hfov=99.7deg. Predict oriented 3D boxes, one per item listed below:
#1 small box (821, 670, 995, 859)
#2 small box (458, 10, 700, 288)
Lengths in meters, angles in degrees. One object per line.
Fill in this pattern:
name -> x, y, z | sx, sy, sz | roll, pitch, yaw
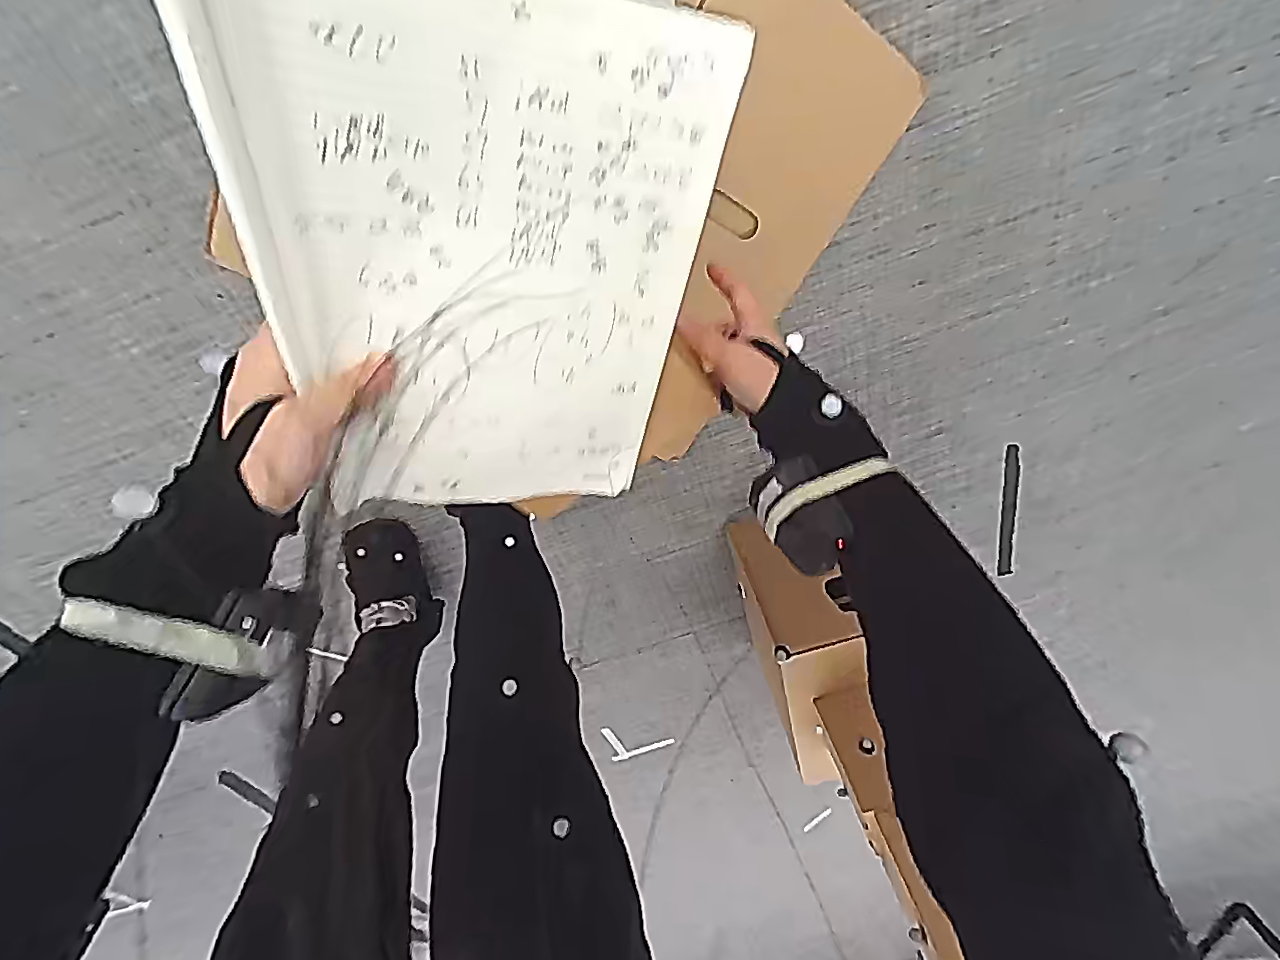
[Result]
small box -> 0.385, 0.416, 0.801 | 0.179, 0.176, 0.168 | -22, 125, 5
small box -> -0.068, -0.346, 0.580 | 0.179, 0.176, 0.168 | 33, 113, -29
